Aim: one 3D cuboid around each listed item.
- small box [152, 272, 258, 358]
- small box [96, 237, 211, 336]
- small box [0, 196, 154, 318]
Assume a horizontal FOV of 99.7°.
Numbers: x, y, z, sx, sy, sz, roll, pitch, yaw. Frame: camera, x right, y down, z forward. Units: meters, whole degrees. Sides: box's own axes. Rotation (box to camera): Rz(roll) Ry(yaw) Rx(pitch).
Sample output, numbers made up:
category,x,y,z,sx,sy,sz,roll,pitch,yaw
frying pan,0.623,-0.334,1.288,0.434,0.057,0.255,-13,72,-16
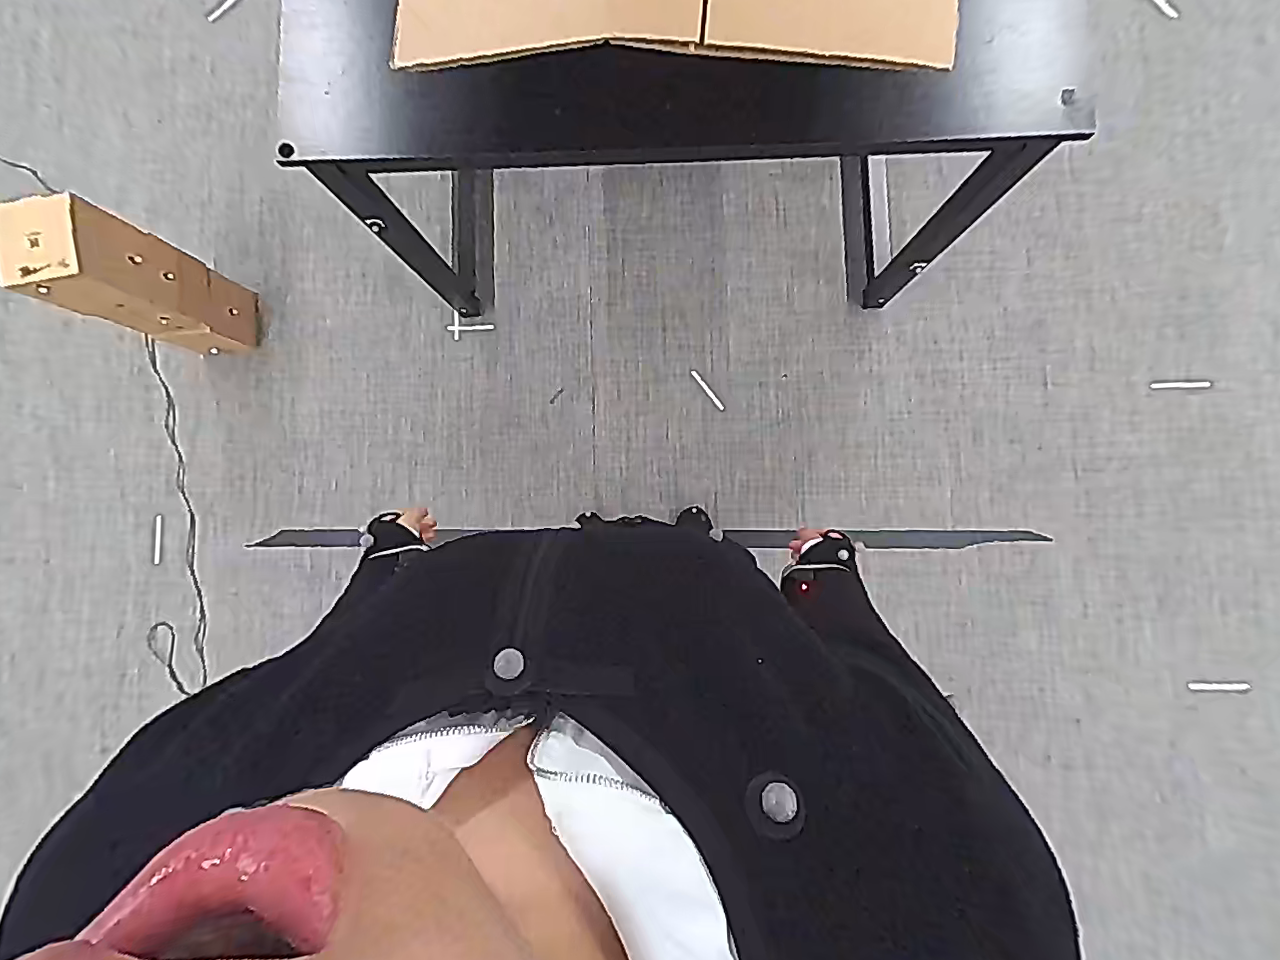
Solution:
category,x,y,z,sx,sy,sz,roll,pitch,yaw
small box,-1.198,-0.452,1.499,0.168,0.176,0.179,-4,87,2
small box,-1.206,-0.469,1.338,0.168,0.176,0.179,-7,85,1
small box,-1.210,-0.475,1.173,0.168,0.176,0.179,-10,85,1
